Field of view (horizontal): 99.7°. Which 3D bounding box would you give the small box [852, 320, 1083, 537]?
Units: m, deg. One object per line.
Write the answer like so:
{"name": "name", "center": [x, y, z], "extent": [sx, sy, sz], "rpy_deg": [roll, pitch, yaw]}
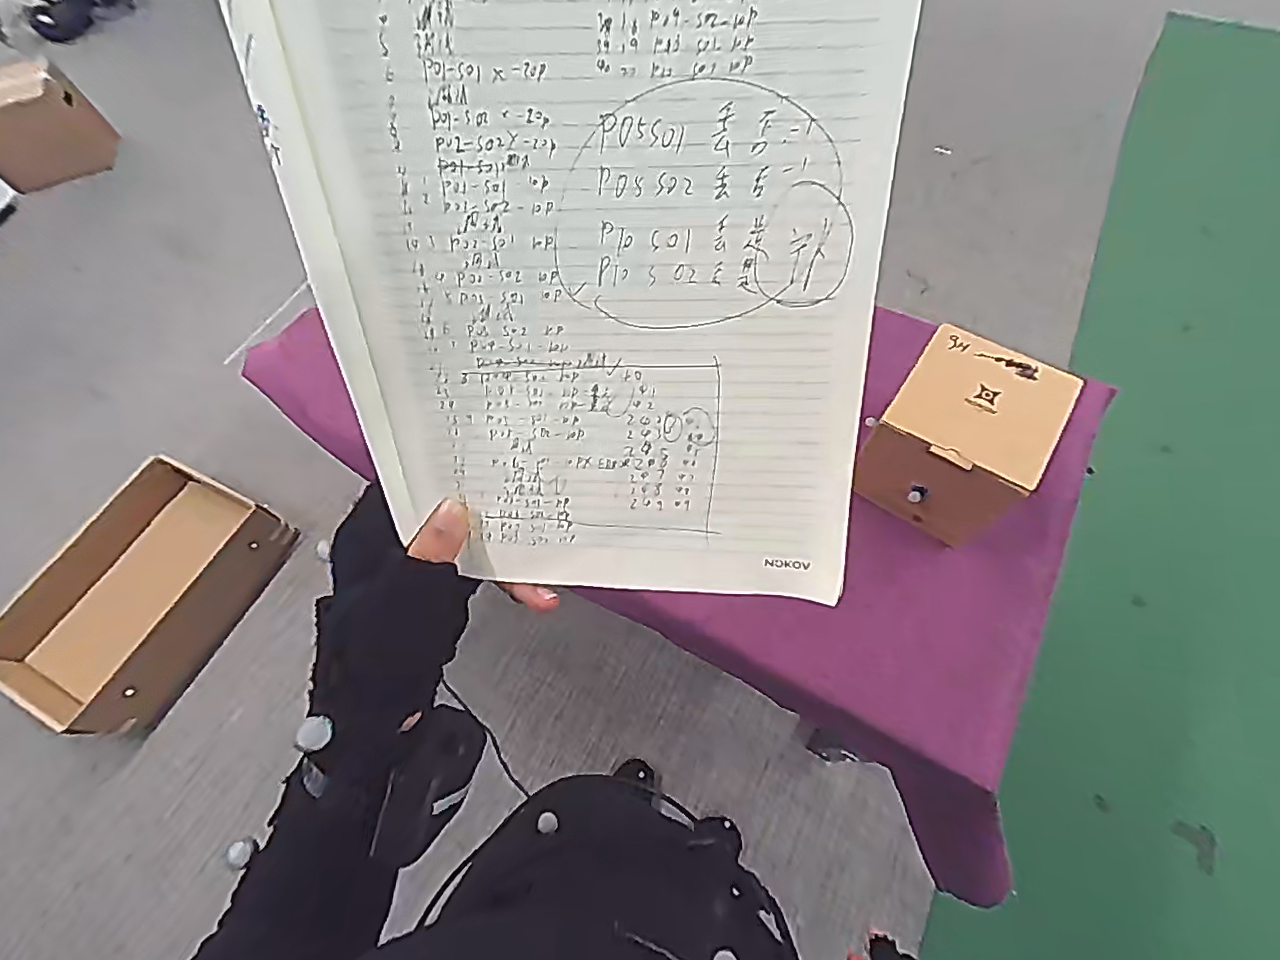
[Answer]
{"name": "small box", "center": [0.389, -0.056, 0.677], "extent": [0.168, 0.176, 0.179], "rpy_deg": [32, 71, 18]}
